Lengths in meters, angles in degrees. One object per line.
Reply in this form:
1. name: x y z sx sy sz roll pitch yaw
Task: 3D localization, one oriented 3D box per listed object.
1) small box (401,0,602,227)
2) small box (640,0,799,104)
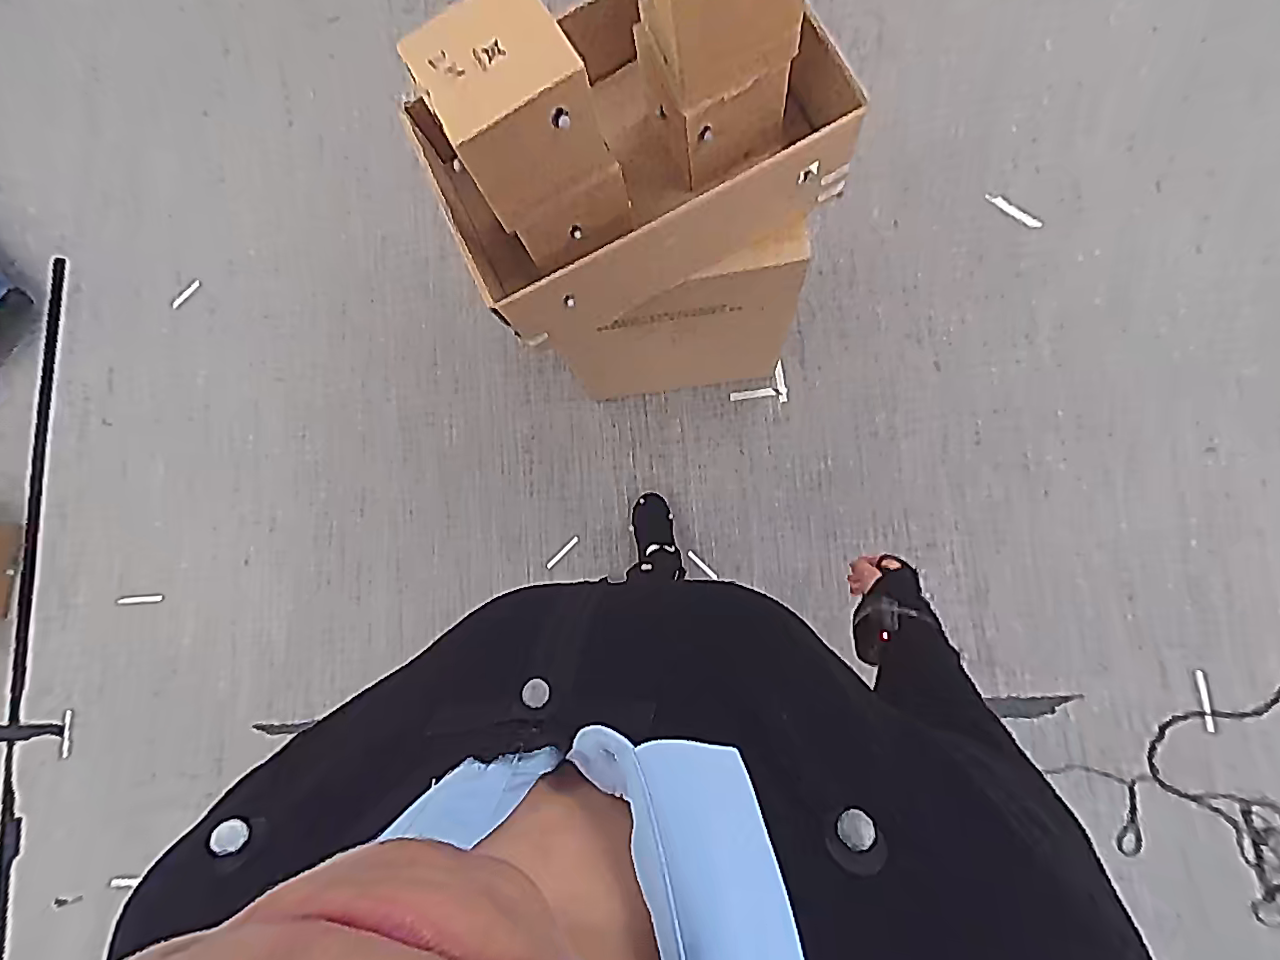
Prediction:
1. small box: -0.163 -0.475 0.702 0.179 0.176 0.168 -30 80 2
2. small box: 0.096 -0.634 0.689 0.179 0.176 0.168 -22 80 5
